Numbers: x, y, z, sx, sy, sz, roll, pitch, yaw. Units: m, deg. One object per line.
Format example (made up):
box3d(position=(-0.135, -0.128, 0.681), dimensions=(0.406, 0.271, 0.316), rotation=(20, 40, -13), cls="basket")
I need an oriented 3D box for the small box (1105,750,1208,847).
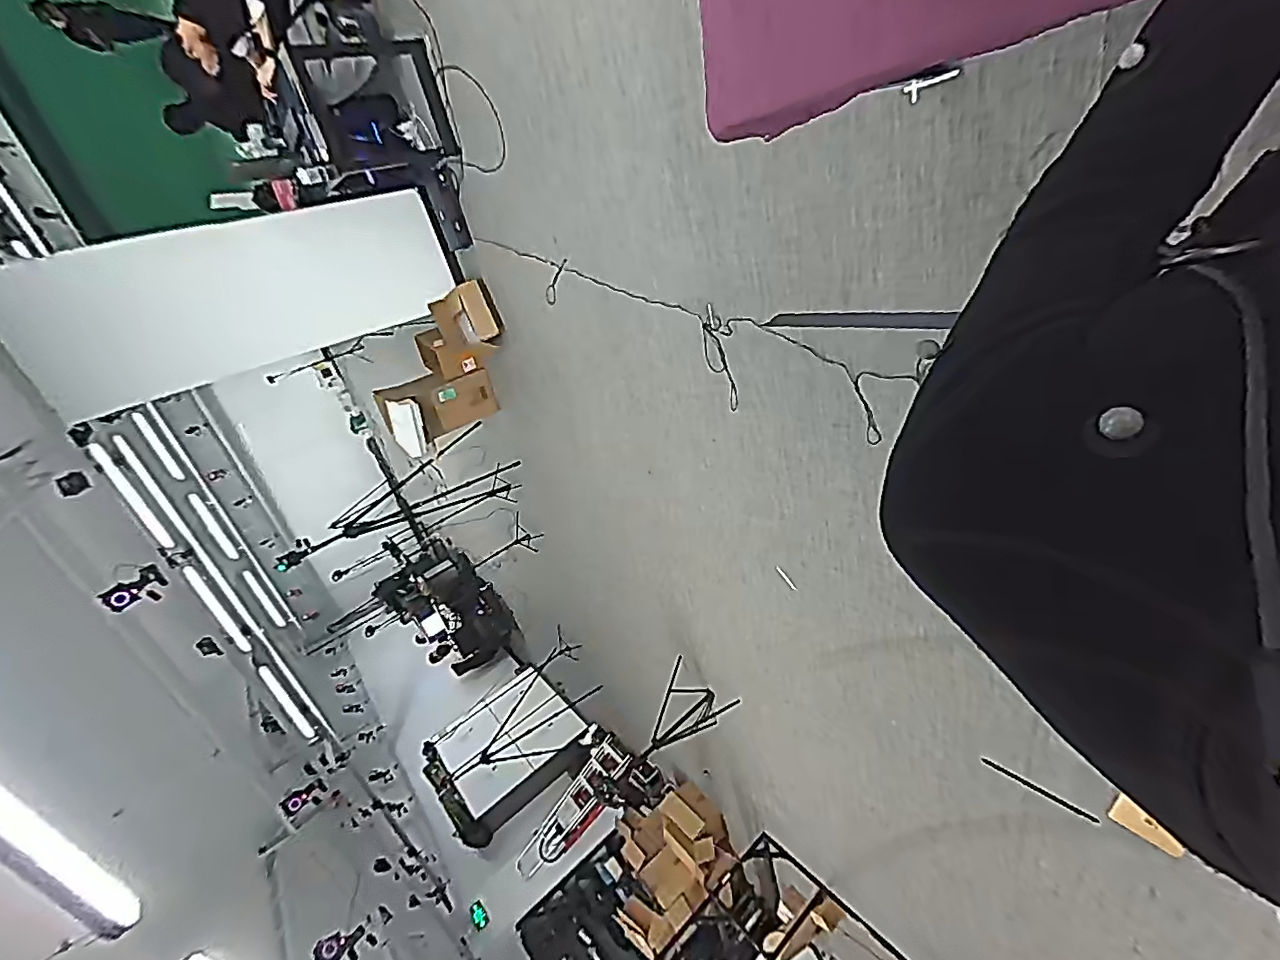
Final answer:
box3d(position=(1.604, 0.977, 1.682), dimensions=(0.179, 0.176, 0.168), rotation=(26, 137, 43), cls="small box")
